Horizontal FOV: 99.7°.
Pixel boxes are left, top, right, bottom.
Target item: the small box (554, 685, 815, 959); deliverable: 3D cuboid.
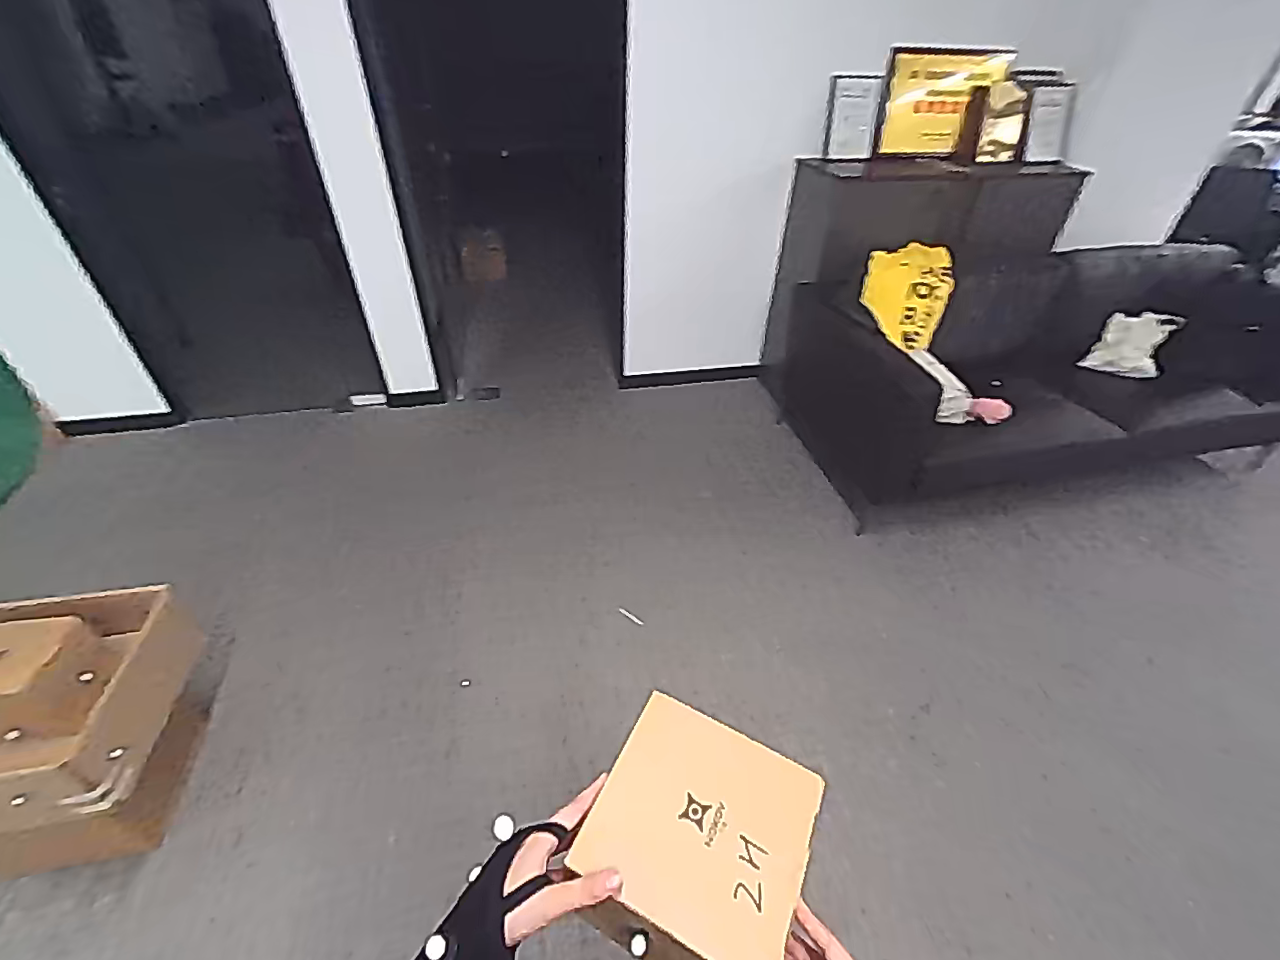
[{"bbox_3d":[0.038,0.336,0.506,0.179,0.176,0.168,22,44,17],"label":"small box"}]
